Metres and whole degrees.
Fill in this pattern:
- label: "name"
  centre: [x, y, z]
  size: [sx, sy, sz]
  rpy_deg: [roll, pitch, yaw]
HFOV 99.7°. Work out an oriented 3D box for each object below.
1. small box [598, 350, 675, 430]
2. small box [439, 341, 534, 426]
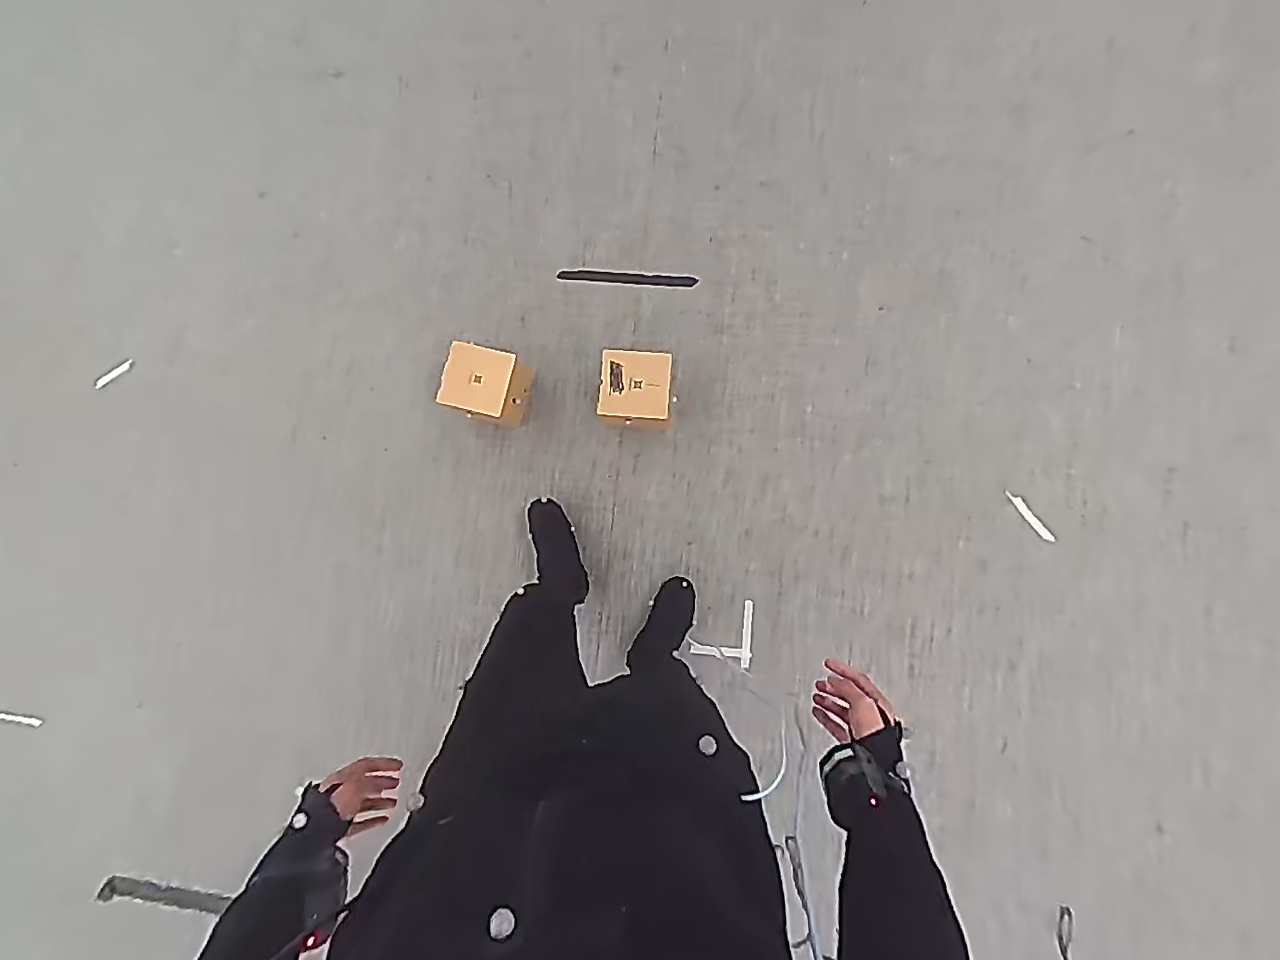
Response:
- label: "small box"
  centre: [-0.004, -0.227, 1.407]
  size: [0.179, 0.176, 0.168]
  rpy_deg: [5, 87, 4]
- label: "small box"
  centre: [-0.398, -0.249, 1.439]
  size: [0.179, 0.176, 0.168]
  rpy_deg: [14, 87, 6]
